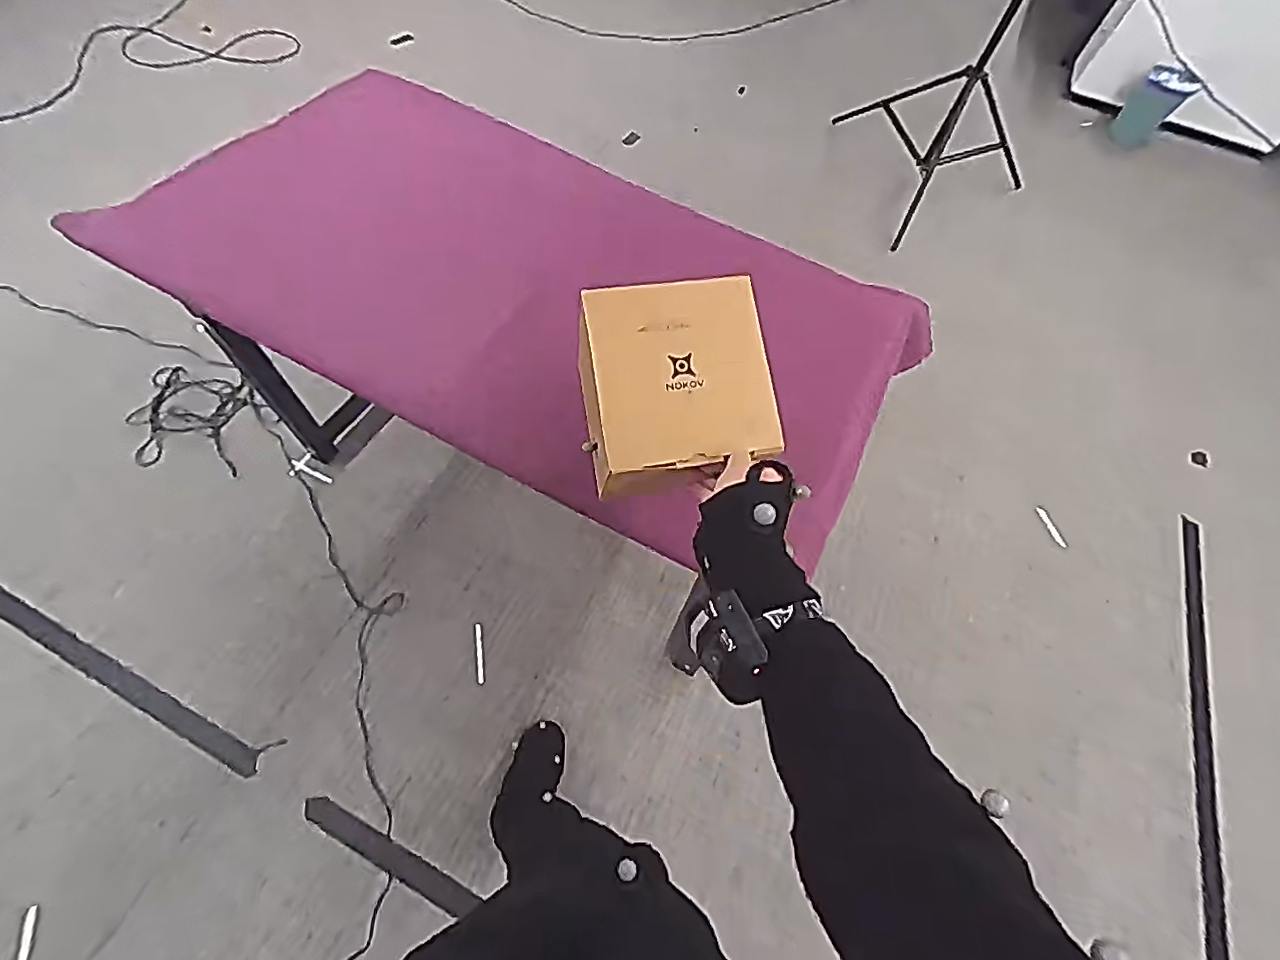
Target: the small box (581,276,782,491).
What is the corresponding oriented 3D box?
[{"bbox_3d":[0.030,-0.088,0.575,0.168,0.176,0.179,-8,80,-9],"label":"small box"}]
